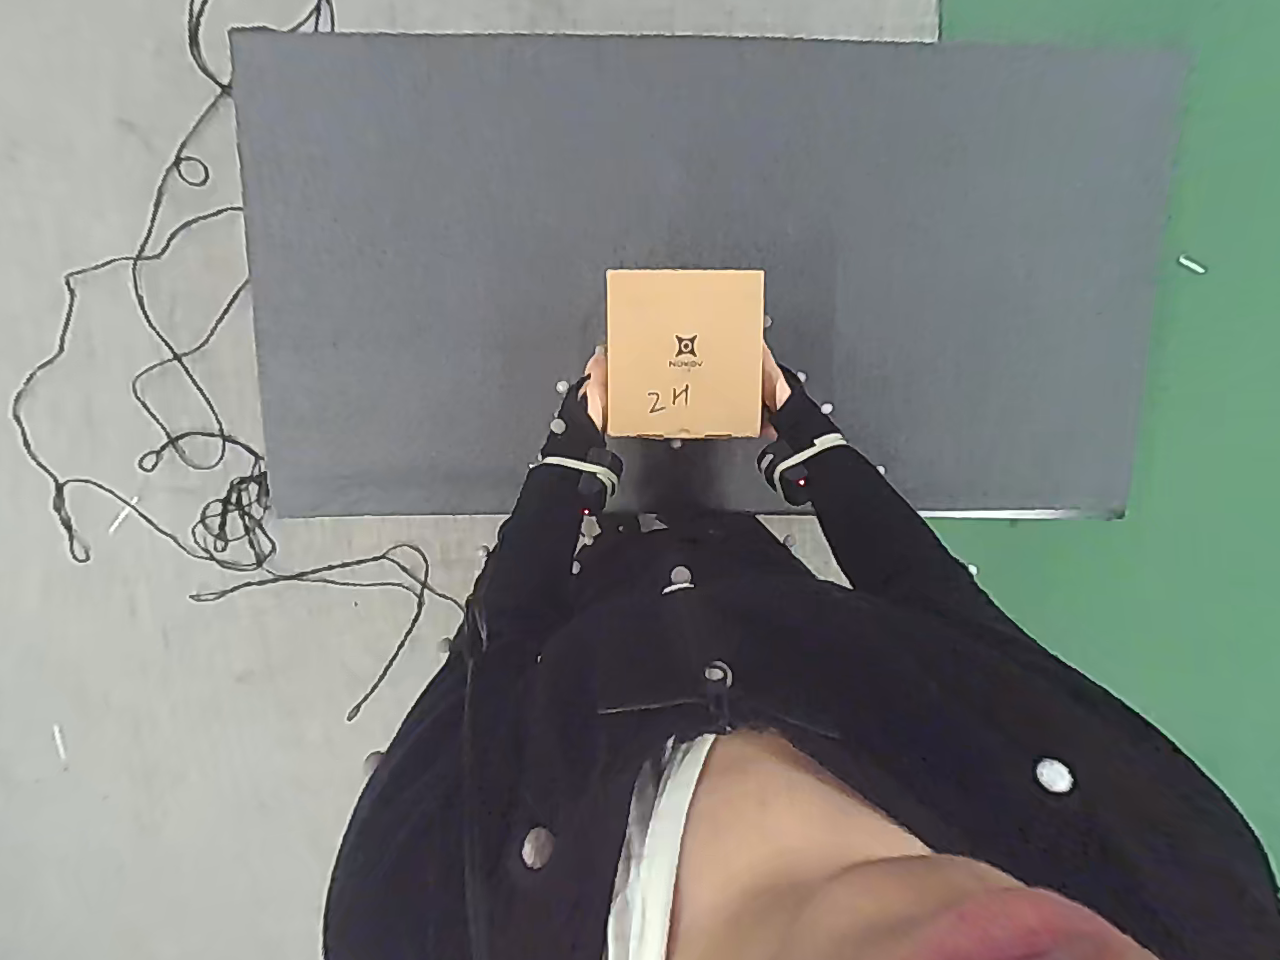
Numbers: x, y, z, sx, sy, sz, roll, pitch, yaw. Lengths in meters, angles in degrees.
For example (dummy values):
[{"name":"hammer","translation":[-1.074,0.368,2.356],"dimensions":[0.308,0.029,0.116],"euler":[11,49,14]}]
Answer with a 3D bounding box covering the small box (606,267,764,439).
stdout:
[{"name":"small box","translation":[0.046,-0.138,0.642],"dimensions":[0.168,0.176,0.179],"euler":[0,96,0]}]
